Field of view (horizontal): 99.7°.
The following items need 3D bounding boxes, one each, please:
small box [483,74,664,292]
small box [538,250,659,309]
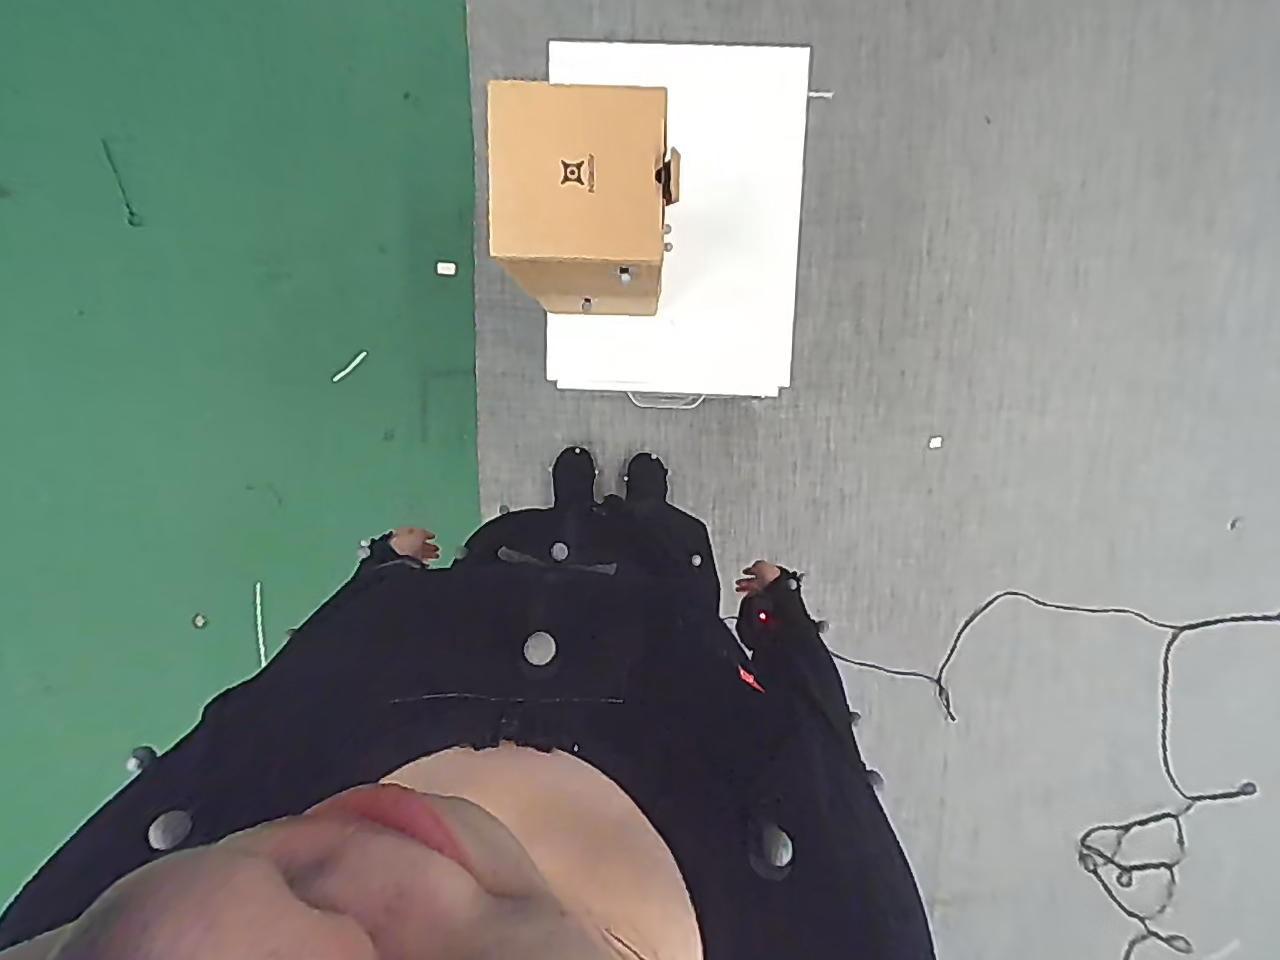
[{"bbox_3d":[-0.065,-0.314,0.605,0.179,0.176,0.168,1,97,-1],"label":"small box"},{"bbox_3d":[-0.061,-0.342,0.766,0.179,0.176,0.168,1,98,0],"label":"small box"}]
